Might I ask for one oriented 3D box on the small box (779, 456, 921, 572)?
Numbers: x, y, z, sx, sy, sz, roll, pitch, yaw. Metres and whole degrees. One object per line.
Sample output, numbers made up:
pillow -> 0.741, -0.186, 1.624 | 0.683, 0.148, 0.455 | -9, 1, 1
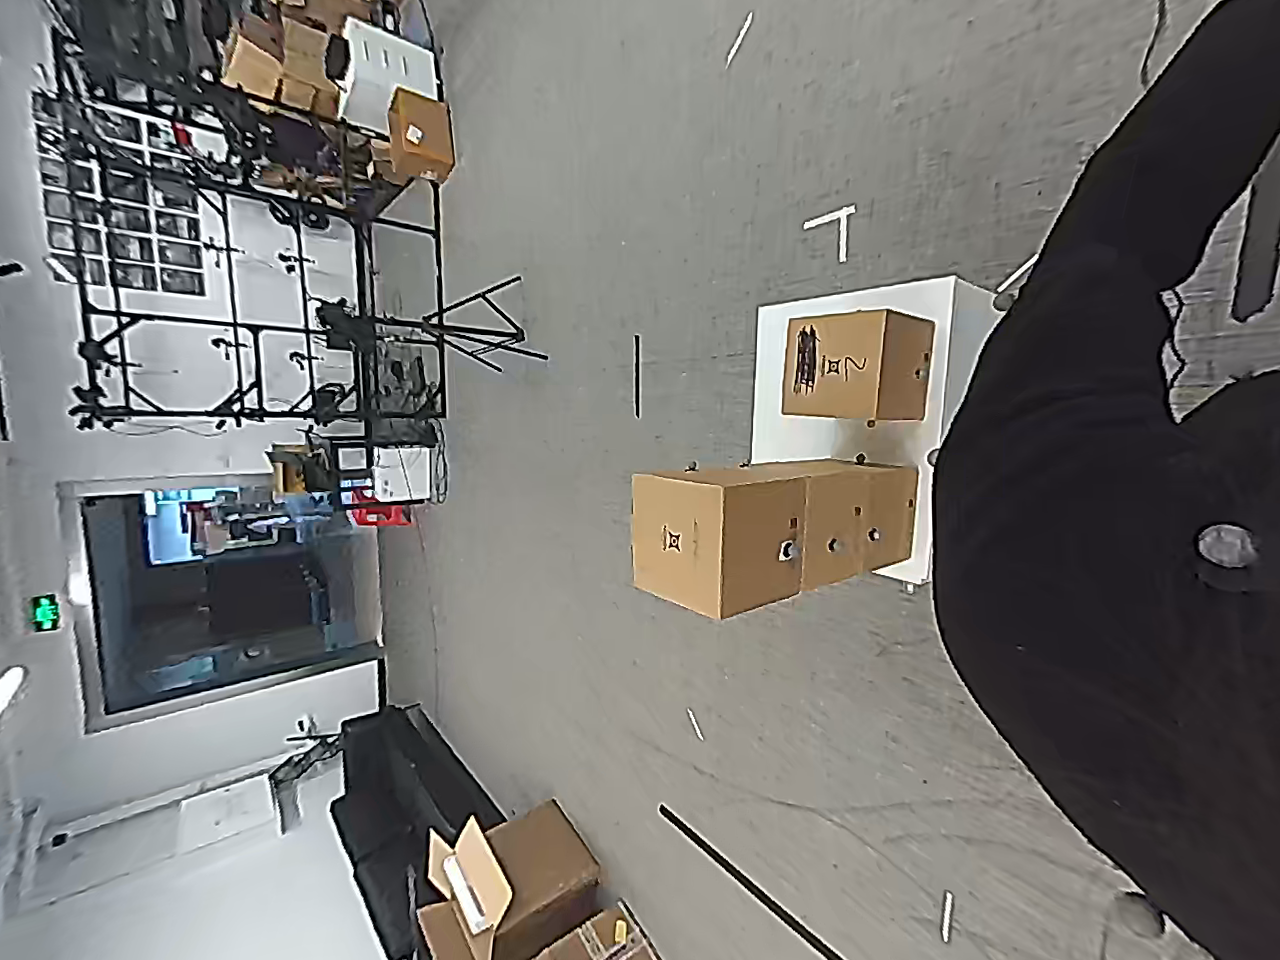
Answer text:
small box -> 0.358, 0.049, 0.947 | 0.179, 0.176, 0.168 | 12, 104, 51

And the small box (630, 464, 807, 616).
small box -> 0.104, 0.069, 0.746 | 0.179, 0.176, 0.168 | 8, 101, 50

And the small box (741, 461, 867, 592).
small box -> 0.232, 0.059, 0.845 | 0.179, 0.176, 0.168 | 9, 101, 51
